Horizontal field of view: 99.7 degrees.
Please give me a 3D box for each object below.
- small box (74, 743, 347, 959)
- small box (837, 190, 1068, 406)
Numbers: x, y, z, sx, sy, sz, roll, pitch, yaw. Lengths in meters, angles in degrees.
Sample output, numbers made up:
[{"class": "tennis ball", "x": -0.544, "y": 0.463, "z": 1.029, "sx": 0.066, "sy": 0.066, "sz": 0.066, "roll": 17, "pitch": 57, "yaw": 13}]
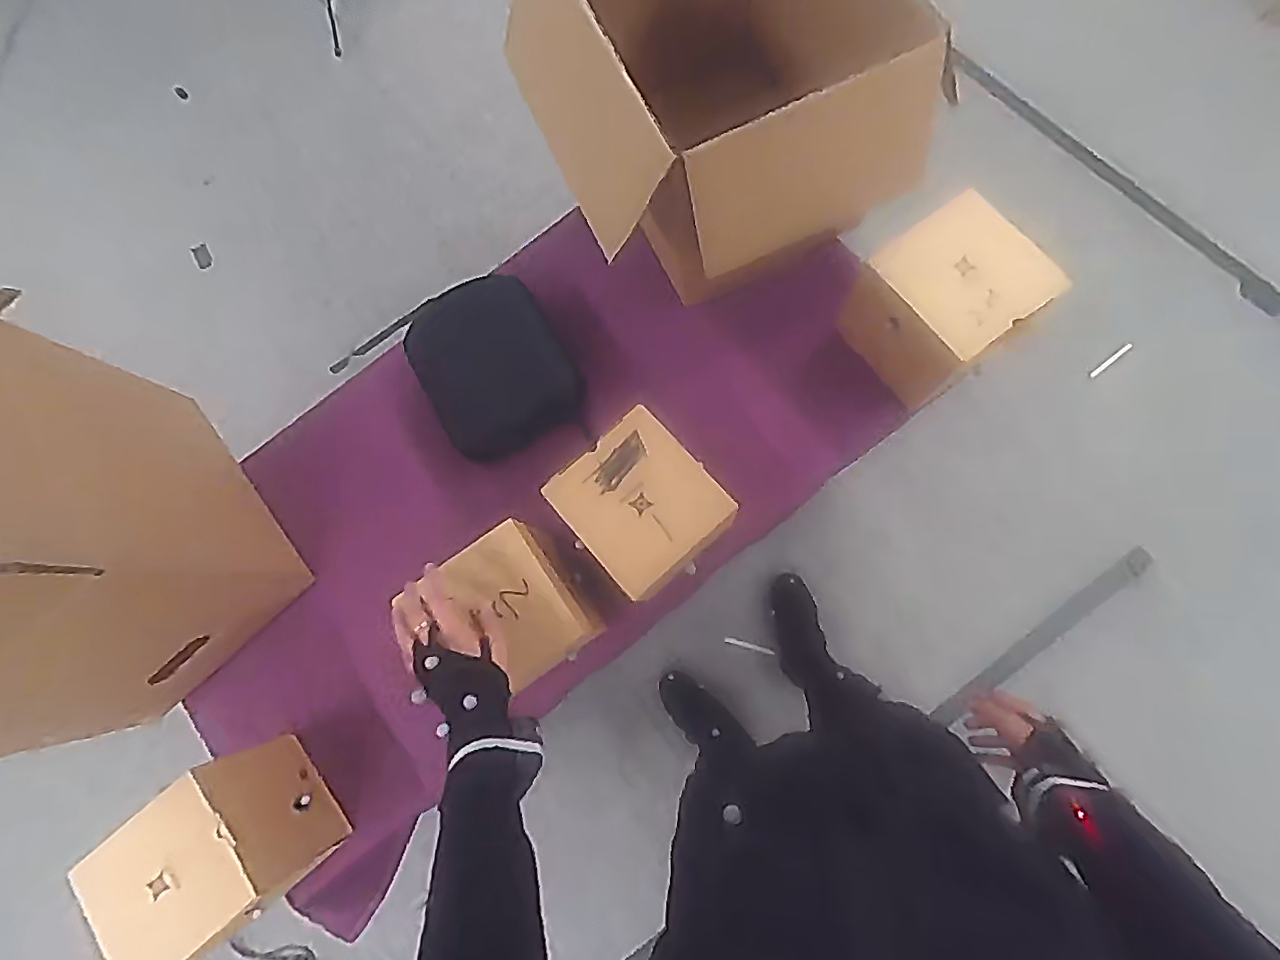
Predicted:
[{"class": "small box", "x": -0.518, "y": 0.468, "z": 0.677, "sx": 0.179, "sy": 0.176, "sz": 0.168, "roll": -41, "pitch": 76, "yaw": -5}, {"class": "small box", "x": 0.394, "y": -0.230, "z": 0.724, "sx": 0.168, "sy": 0.176, "sz": 0.179, "roll": -35, "pitch": 76, "yaw": -1}]
